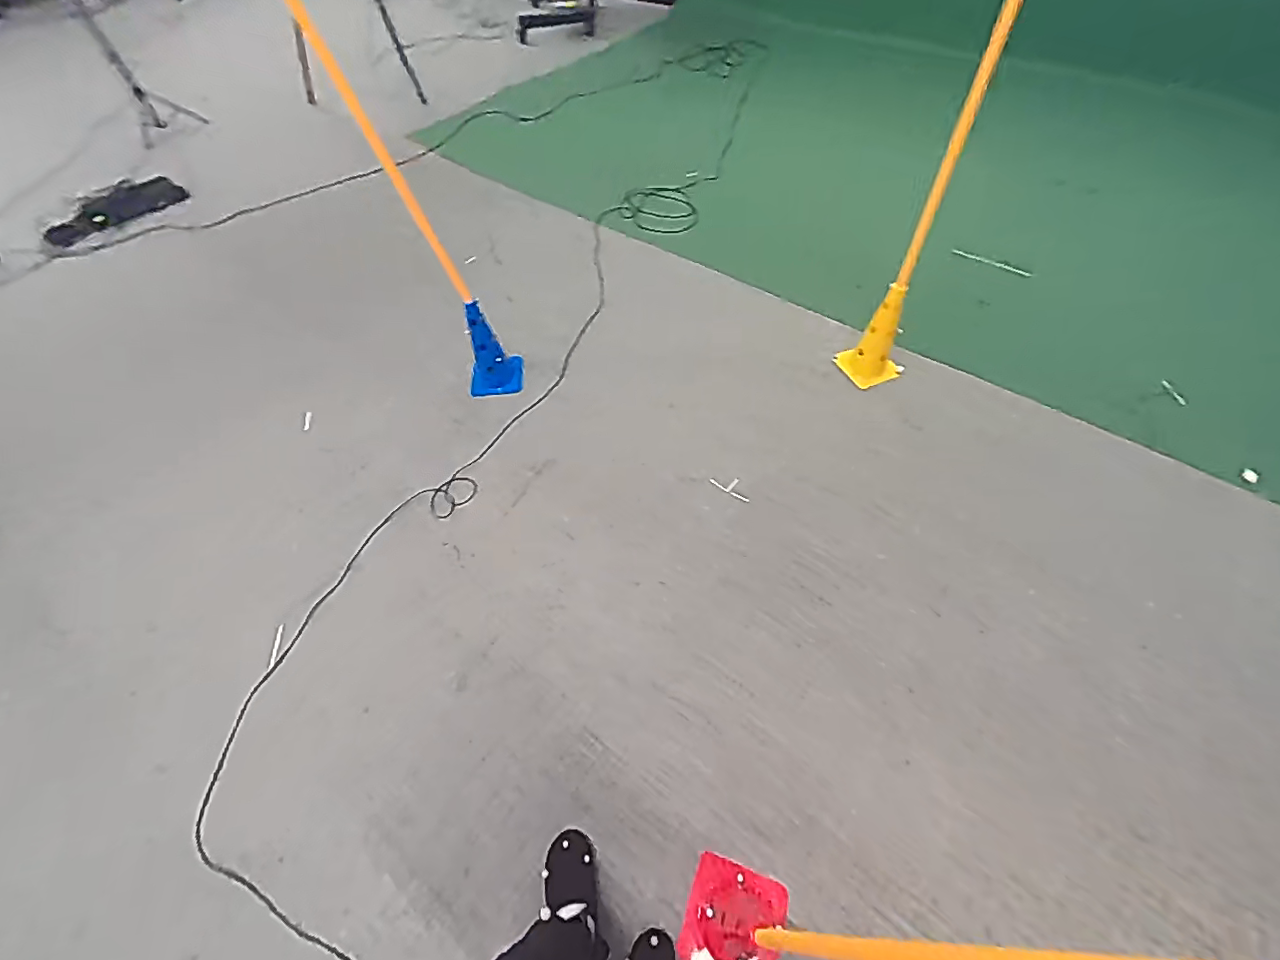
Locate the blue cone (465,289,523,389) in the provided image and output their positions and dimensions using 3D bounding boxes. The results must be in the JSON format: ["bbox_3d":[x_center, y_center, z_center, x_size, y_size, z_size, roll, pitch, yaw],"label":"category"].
[{"bbox_3d":[-0.559,-0.520,1.962,0.193,0.380,0.192,-7,56,-1],"label":"blue cone"}]
